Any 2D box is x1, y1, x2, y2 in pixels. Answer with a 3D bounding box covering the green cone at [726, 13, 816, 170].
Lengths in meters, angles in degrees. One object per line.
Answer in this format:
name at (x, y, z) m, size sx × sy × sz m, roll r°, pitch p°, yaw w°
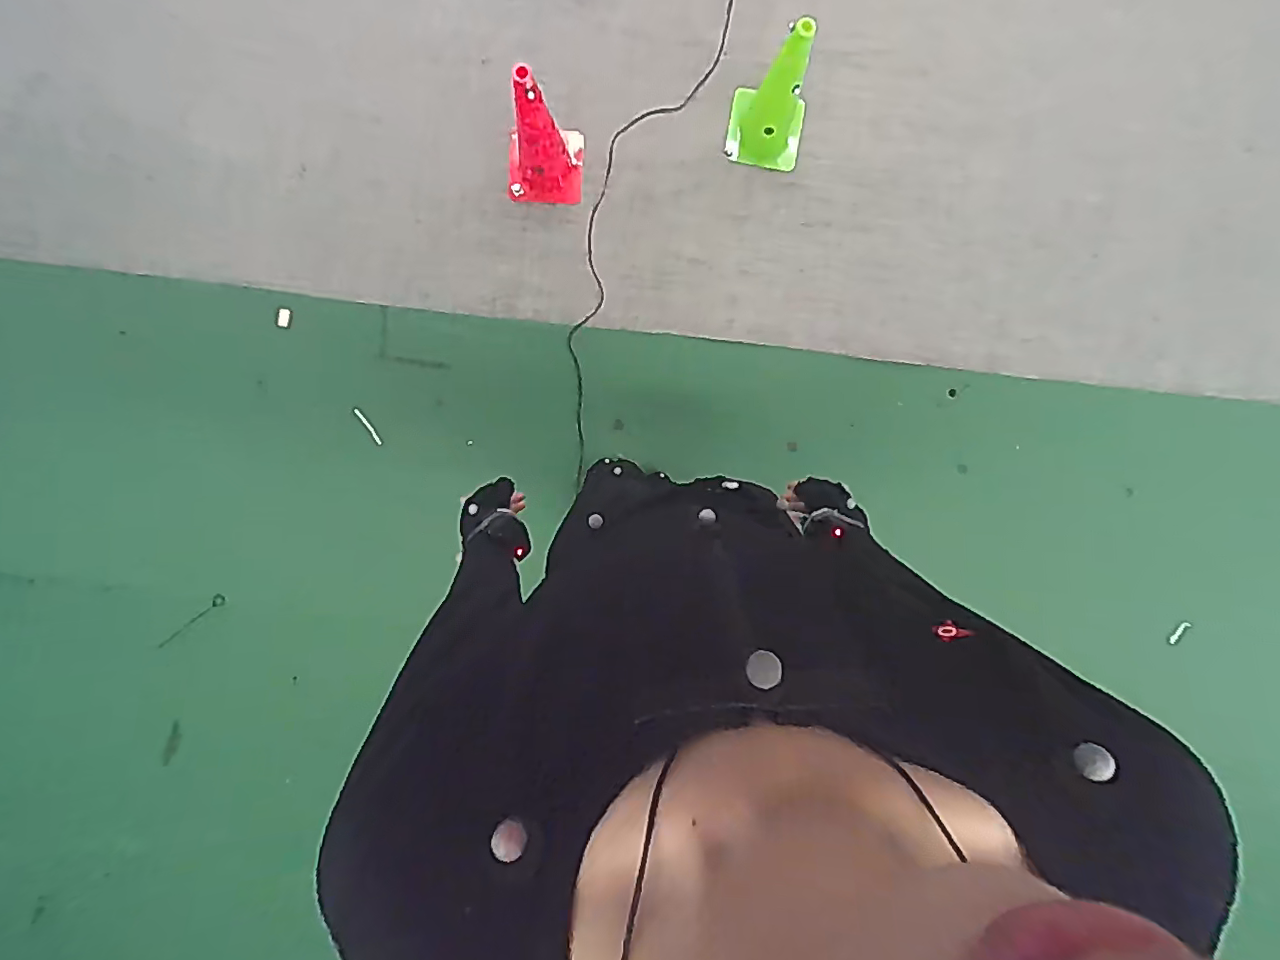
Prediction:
green cone at (0.351, -0.964, 1.319) m, size 0.200 × 0.368 × 0.202 m, roll 9°, pitch 90°, yaw -2°
